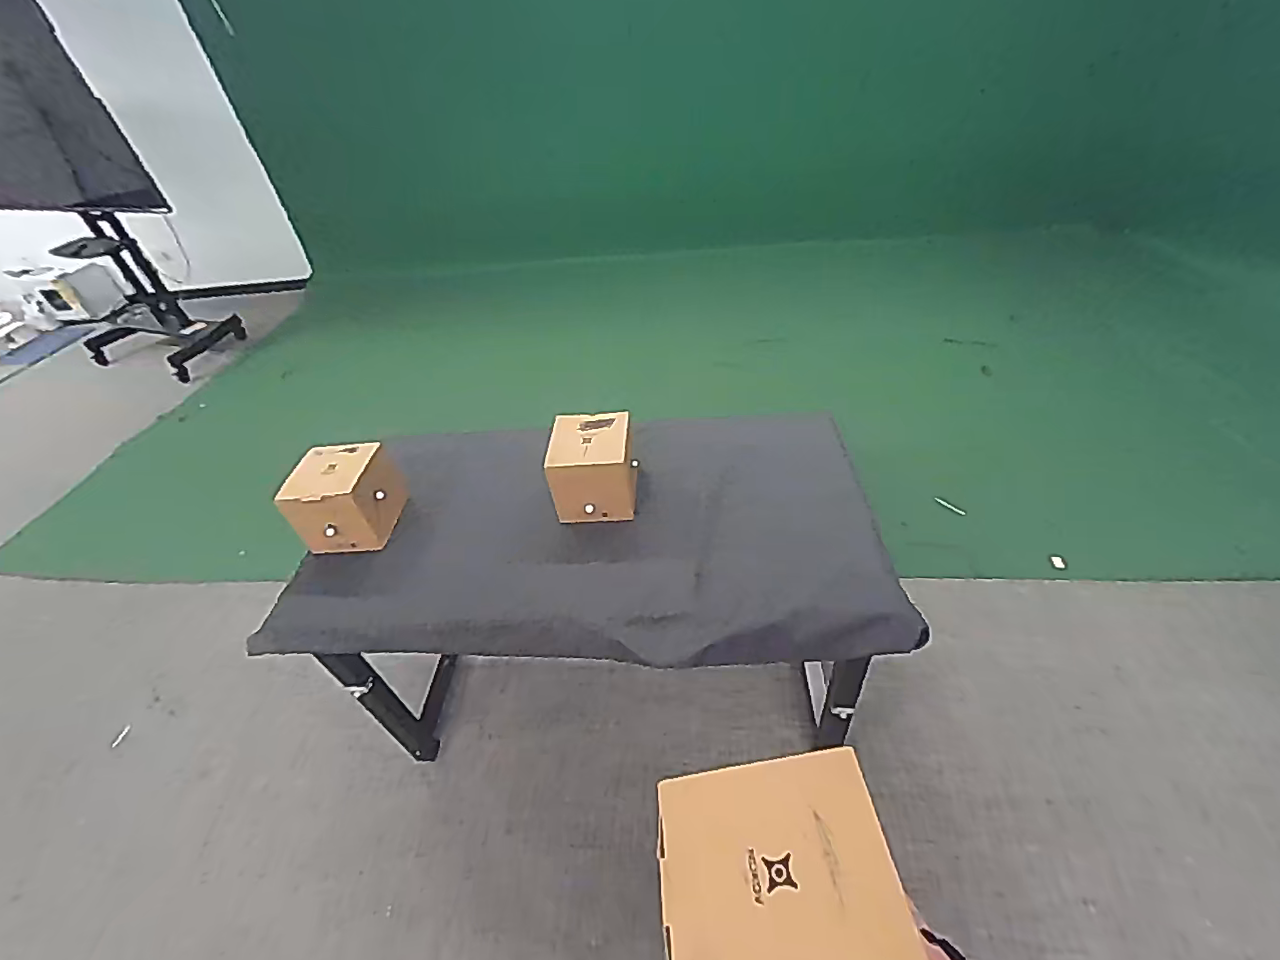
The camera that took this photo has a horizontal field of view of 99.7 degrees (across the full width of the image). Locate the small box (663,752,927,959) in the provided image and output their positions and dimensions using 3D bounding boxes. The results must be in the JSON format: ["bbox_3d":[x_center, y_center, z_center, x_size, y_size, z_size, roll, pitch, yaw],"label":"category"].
[{"bbox_3d":[0.128,0.367,0.466,0.179,0.176,0.168,-13,37,7],"label":"small box"}]

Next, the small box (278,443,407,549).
[{"bbox_3d":[-0.646,0.041,1.203,0.168,0.176,0.179,-3,42,3],"label":"small box"}]

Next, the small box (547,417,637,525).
[{"bbox_3d":[-0.097,-0.020,1.196,0.168,0.176,0.179,-2,43,6],"label":"small box"}]
